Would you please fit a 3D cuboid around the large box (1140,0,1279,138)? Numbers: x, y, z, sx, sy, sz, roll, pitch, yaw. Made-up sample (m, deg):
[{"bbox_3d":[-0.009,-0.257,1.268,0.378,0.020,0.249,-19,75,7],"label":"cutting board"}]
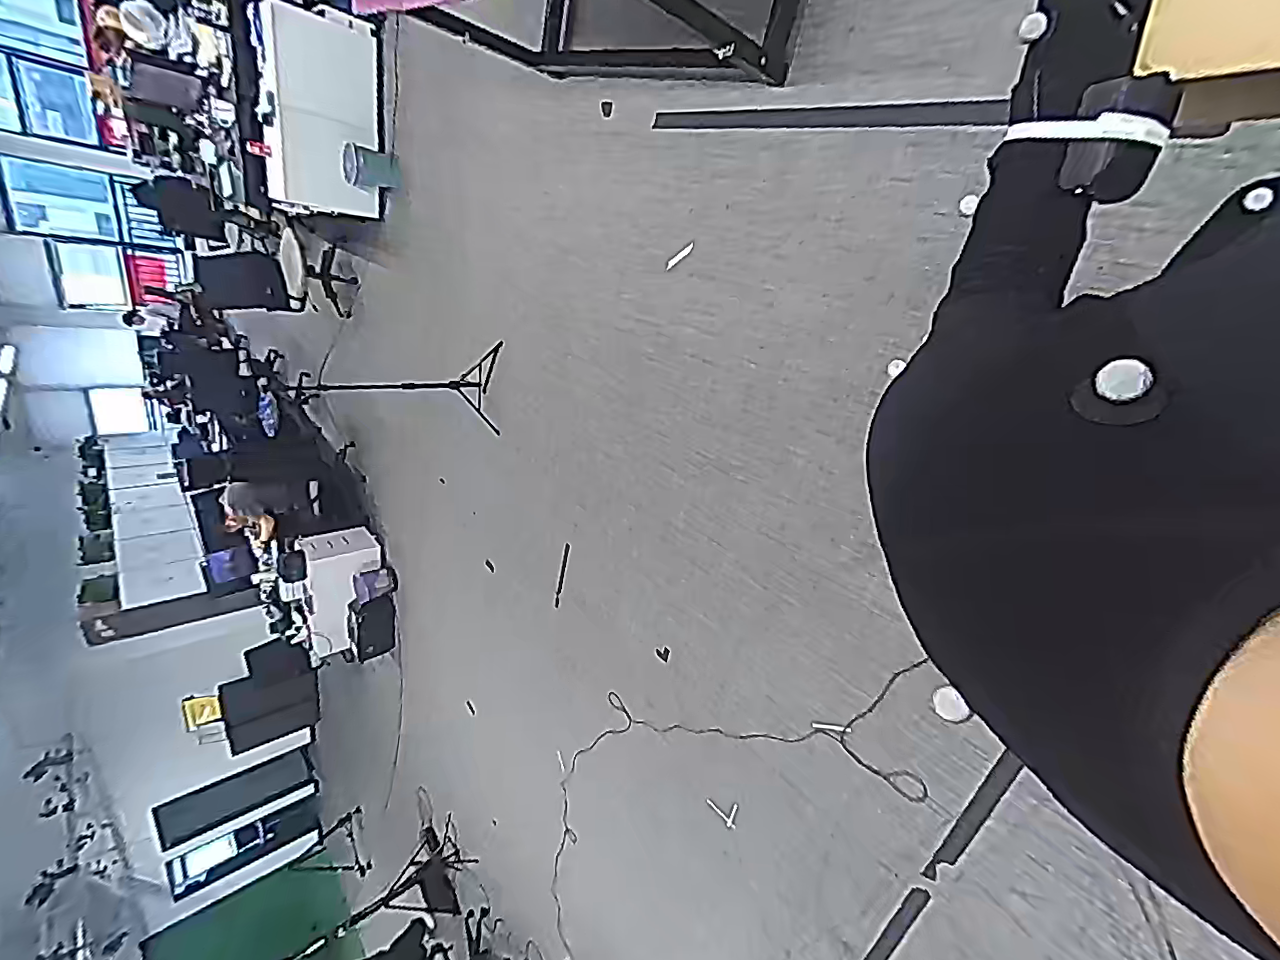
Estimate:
[{"bbox_3d":[0.566,-0.385,0.267,0.408,0.320,0.320,21,124,38],"label":"large box"}]
